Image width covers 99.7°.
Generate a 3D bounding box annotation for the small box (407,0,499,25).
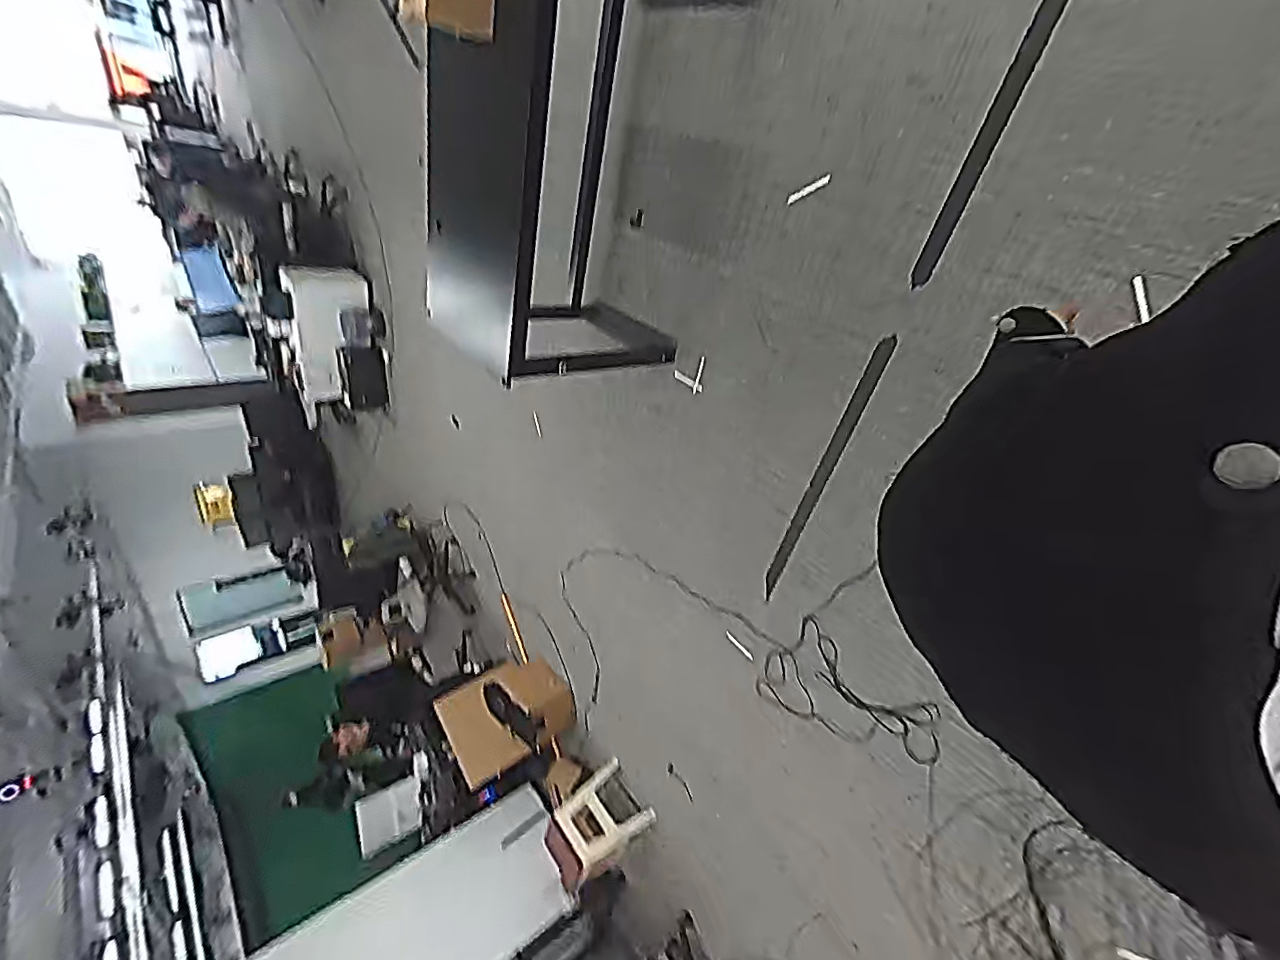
[{"bbox_3d":[-0.437,-1.205,1.270,0.168,0.176,0.179,42,131,34],"label":"small box"}]
